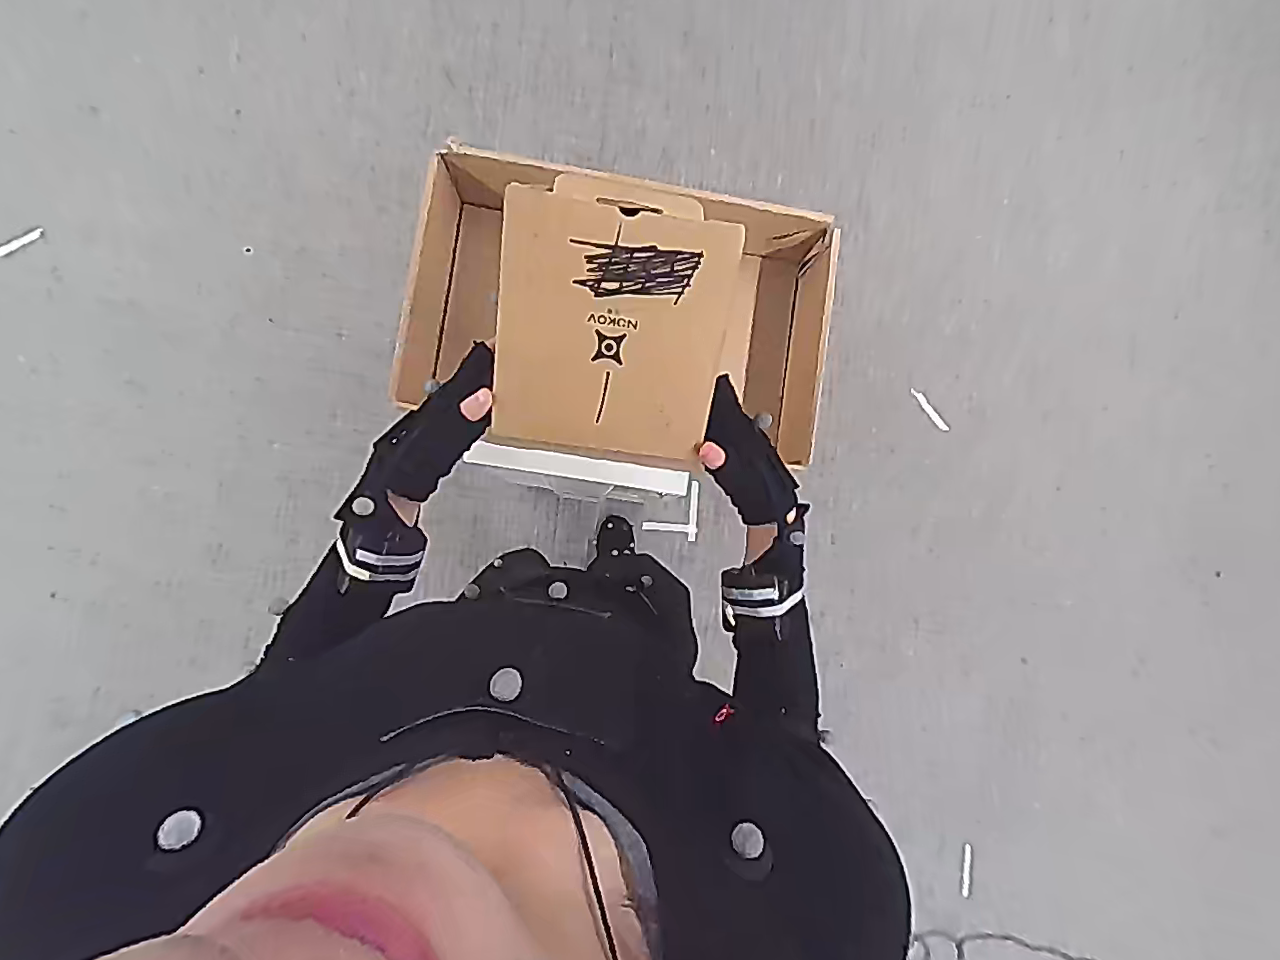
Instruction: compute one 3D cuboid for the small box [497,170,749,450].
[{"bbox_3d":[-0.022,-0.139,0.468,0.168,0.176,0.179,7,108,-7],"label":"small box"}]
